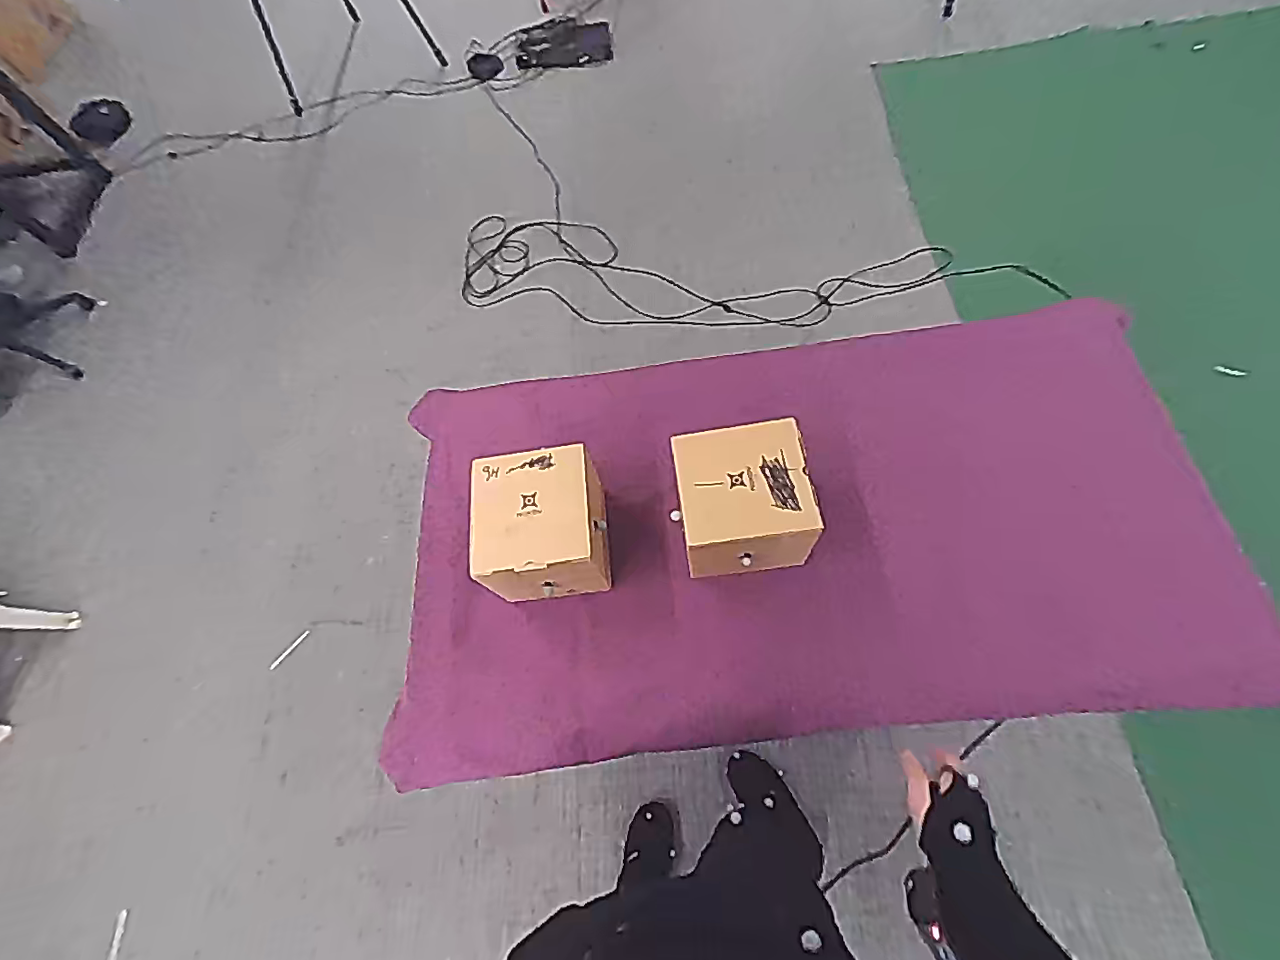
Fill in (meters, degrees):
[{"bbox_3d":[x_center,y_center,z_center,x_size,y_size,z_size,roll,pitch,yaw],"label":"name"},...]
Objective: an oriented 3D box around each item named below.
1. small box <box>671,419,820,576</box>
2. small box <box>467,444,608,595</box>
[{"bbox_3d":[0.144,0.033,0.788,0.179,0.176,0.168,-9,64,5],"label":"small box"},{"bbox_3d":[-0.145,0.069,0.808,0.168,0.176,0.179,-8,66,3],"label":"small box"}]
